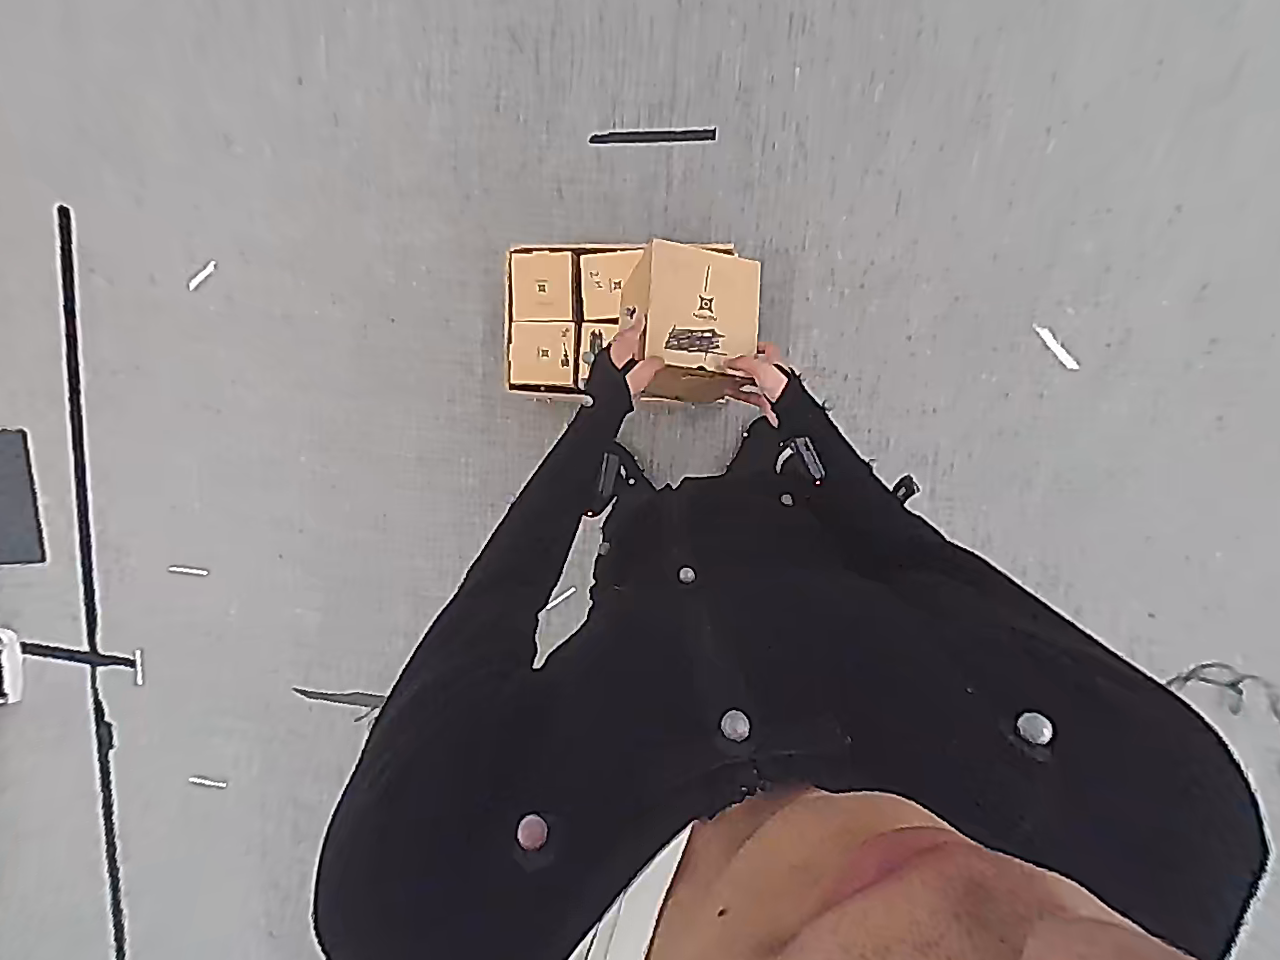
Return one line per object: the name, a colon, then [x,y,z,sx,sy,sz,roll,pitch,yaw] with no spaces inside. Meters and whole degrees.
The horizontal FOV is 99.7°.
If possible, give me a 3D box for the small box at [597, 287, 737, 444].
small box: [0.035,-0.161,0.830,0.168,0.176,0.179,7,78,-17]
